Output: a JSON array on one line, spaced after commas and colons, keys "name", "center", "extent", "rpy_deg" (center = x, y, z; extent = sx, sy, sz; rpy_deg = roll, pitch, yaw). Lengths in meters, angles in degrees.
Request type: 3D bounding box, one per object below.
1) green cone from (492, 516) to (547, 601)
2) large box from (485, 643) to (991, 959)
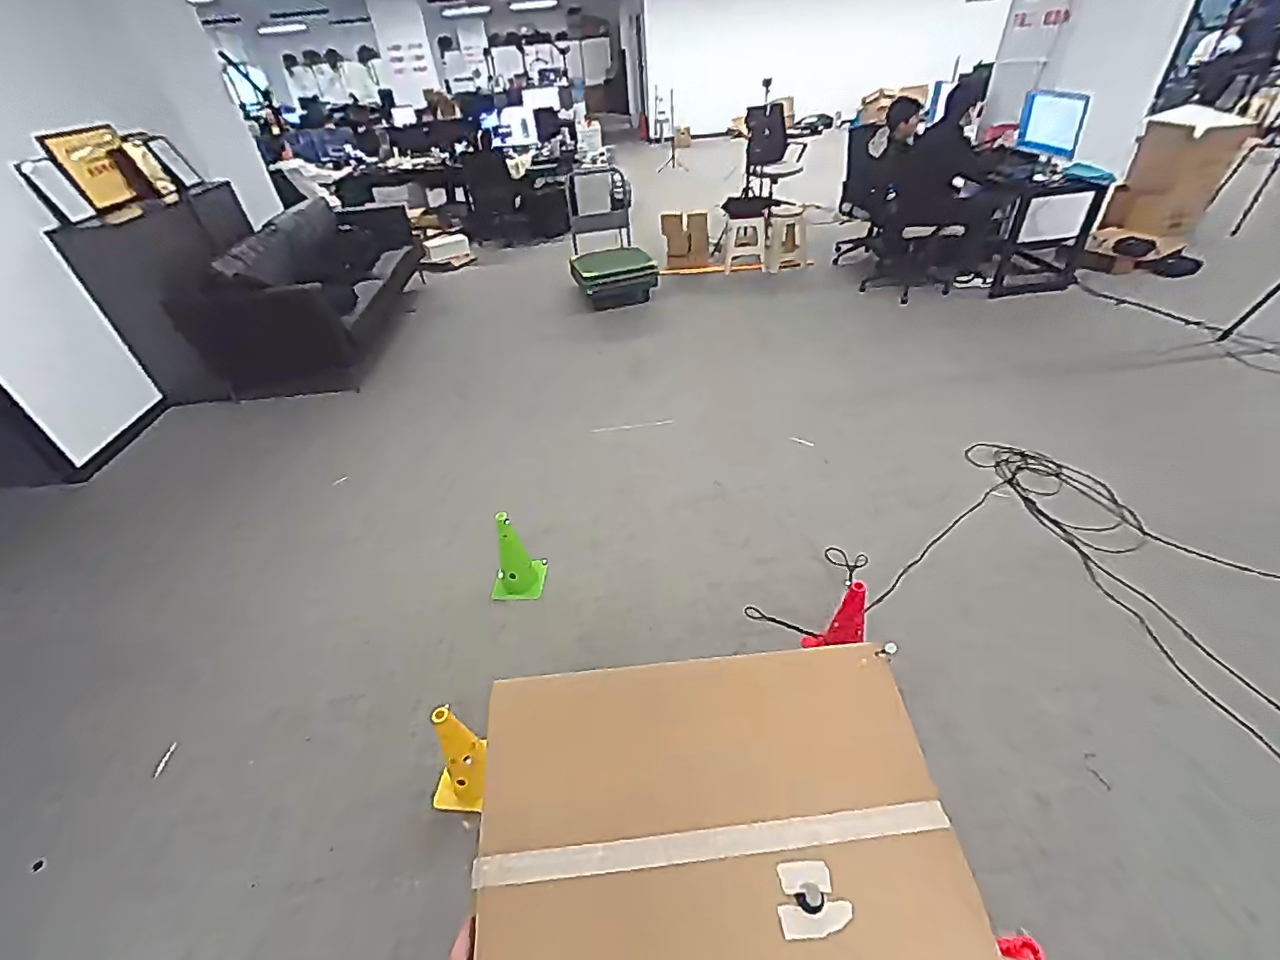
[{"name": "green cone", "center": [-0.500, 0.276, 2.082], "extent": [0.200, 0.368, 0.202], "rpy_deg": [-3, 40, 4]}, {"name": "large box", "center": [0.066, 0.405, 0.591], "extent": [0.408, 0.320, 0.320], "rpy_deg": [-5, 53, -4]}]
